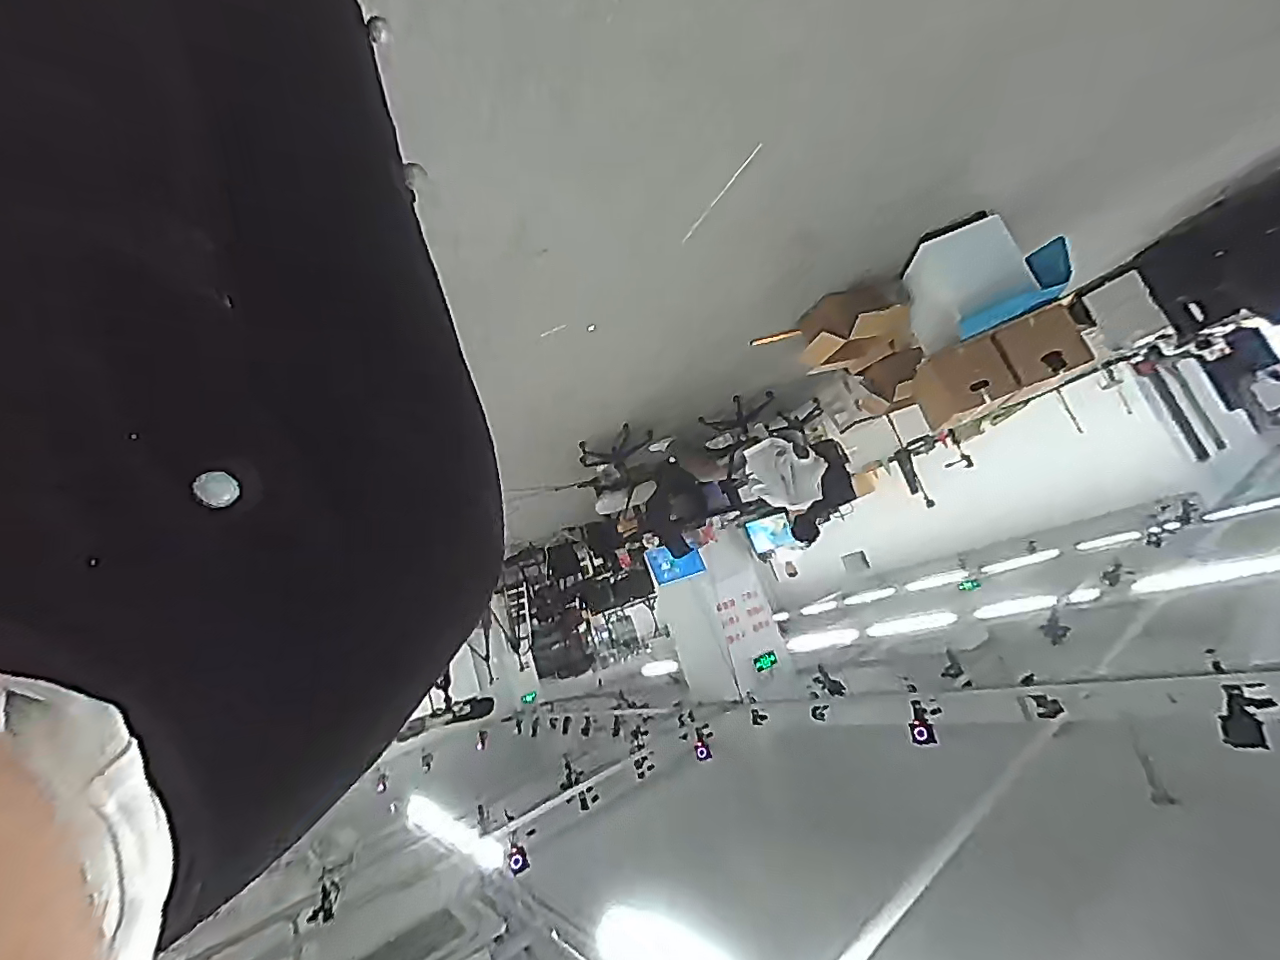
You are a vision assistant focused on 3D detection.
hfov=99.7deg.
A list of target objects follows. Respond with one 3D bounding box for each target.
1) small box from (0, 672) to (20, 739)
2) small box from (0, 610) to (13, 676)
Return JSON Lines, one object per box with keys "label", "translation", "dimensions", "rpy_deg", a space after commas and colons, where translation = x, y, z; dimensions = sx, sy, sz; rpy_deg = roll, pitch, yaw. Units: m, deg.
{"label": "small box", "translation": [-1.703, 0.582, 1.345], "dimensions": [0.179, 0.176, 0.168], "rpy_deg": [-12, 165, -42]}
{"label": "small box", "translation": [-1.766, 0.437, 1.387], "dimensions": [0.179, 0.176, 0.168], "rpy_deg": [-11, 164, -41]}
